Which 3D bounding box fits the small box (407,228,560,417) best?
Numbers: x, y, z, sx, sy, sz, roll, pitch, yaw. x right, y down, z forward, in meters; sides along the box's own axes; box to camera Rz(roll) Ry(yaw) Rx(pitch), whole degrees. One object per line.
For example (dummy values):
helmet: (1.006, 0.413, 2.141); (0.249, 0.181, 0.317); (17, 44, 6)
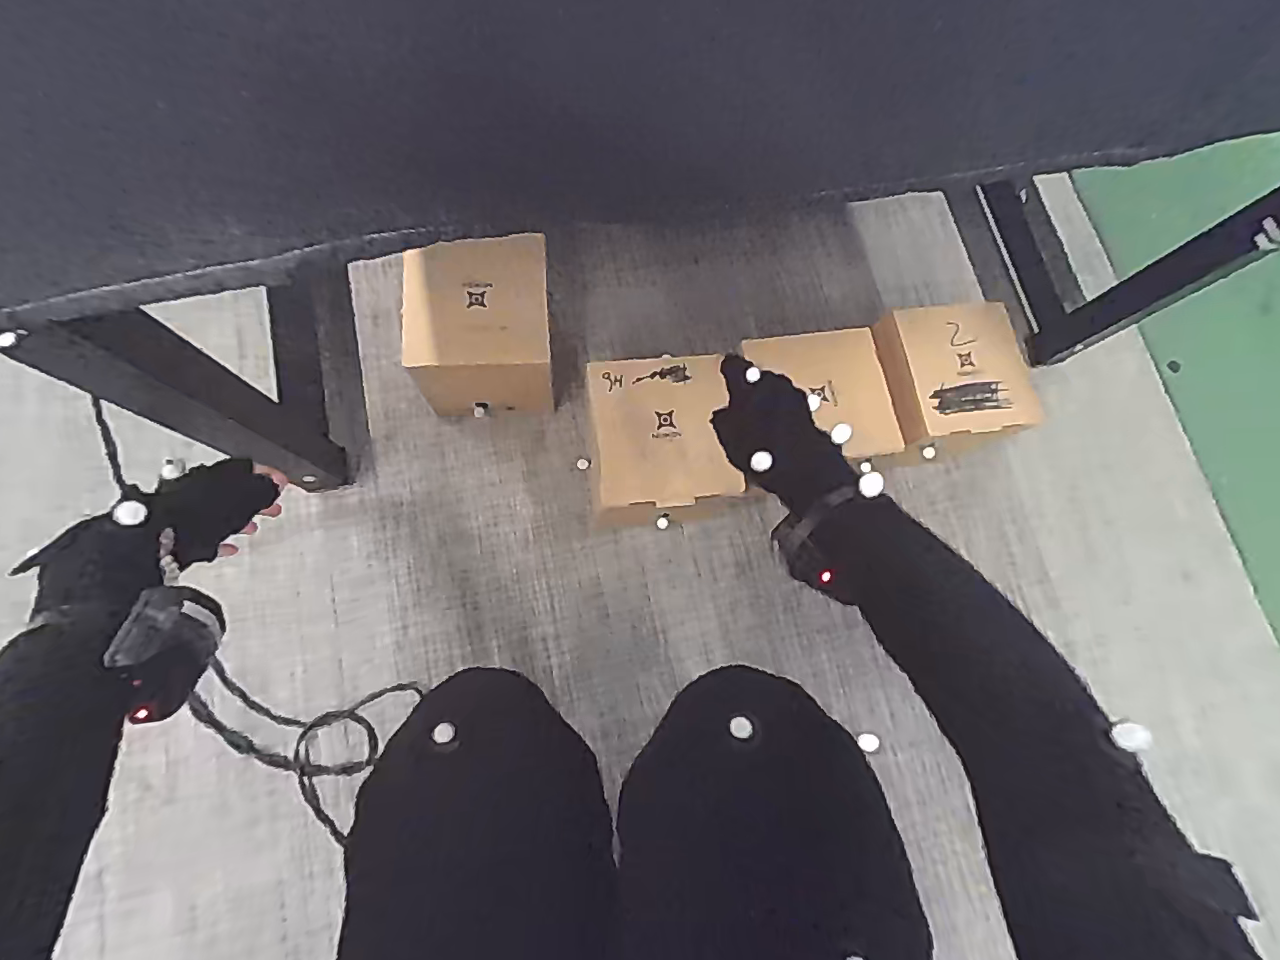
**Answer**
small box: (-0.191, -0.195, 0.702); (0.168, 0.176, 0.179); (-3, 76, -7)
